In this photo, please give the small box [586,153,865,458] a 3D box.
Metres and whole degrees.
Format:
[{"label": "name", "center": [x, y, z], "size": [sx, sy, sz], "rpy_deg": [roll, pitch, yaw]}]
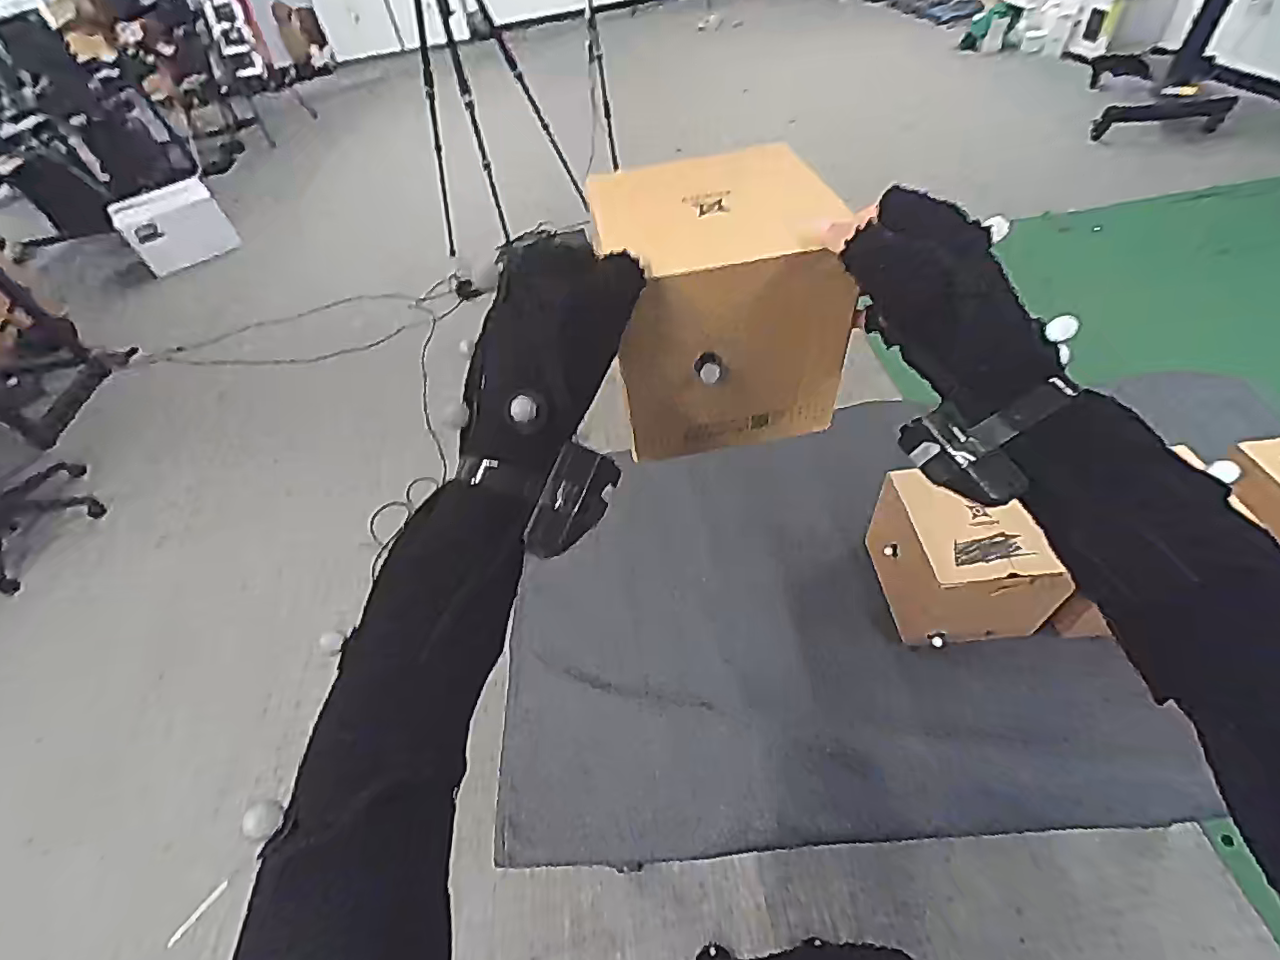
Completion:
[{"label": "small box", "center": [0.058, -0.134, 0.444], "size": [0.168, 0.176, 0.179], "rpy_deg": [-11, 48, -2]}]
